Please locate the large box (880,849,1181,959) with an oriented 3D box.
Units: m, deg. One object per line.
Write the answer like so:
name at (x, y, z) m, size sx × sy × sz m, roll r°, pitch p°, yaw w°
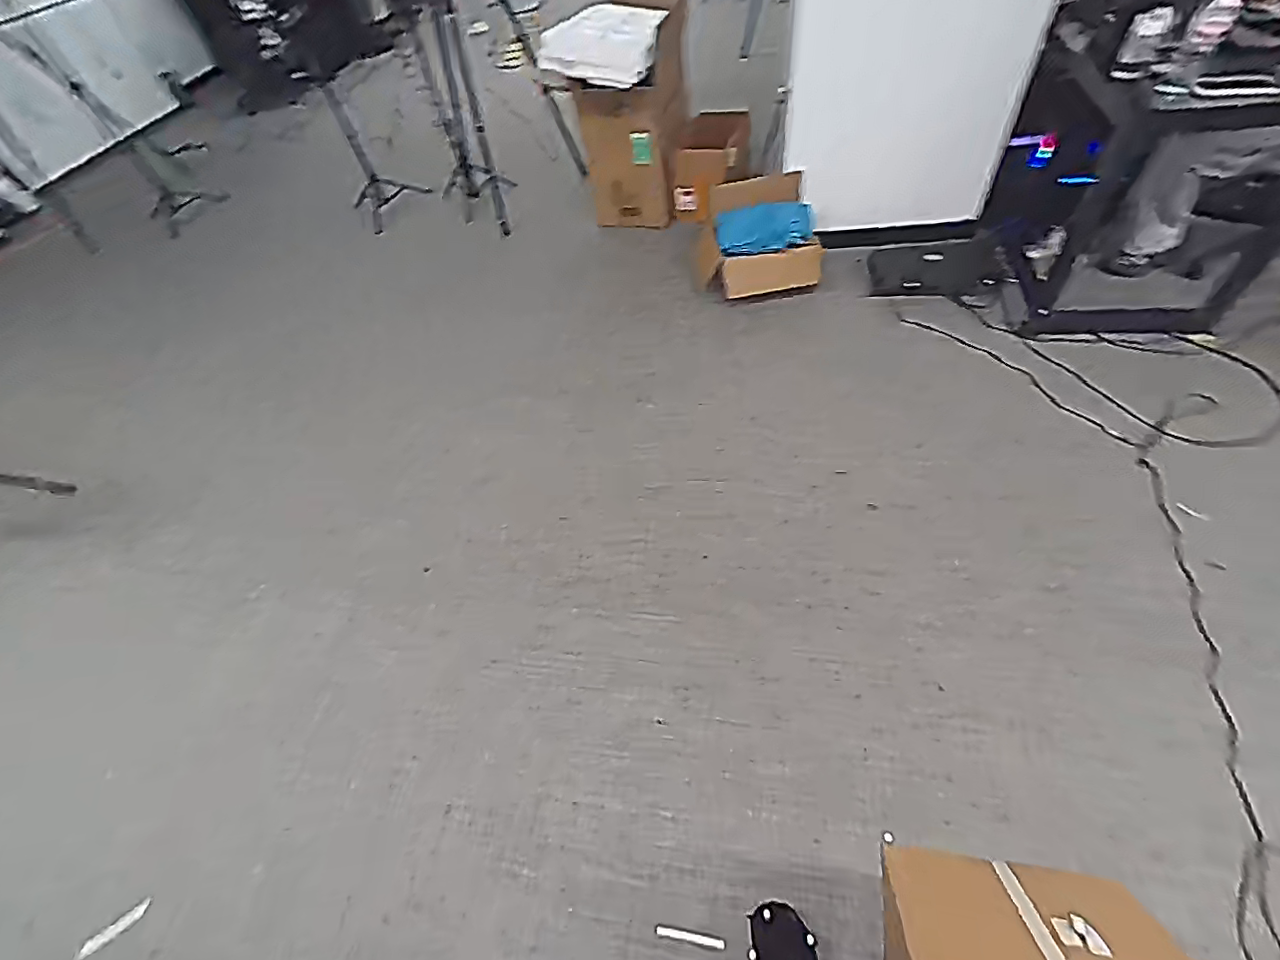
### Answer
large box at (0.471, 0.708, 0.600) m, size 0.320 × 0.408 × 0.320 m, roll 1°, pitch 86°, yaw 15°
